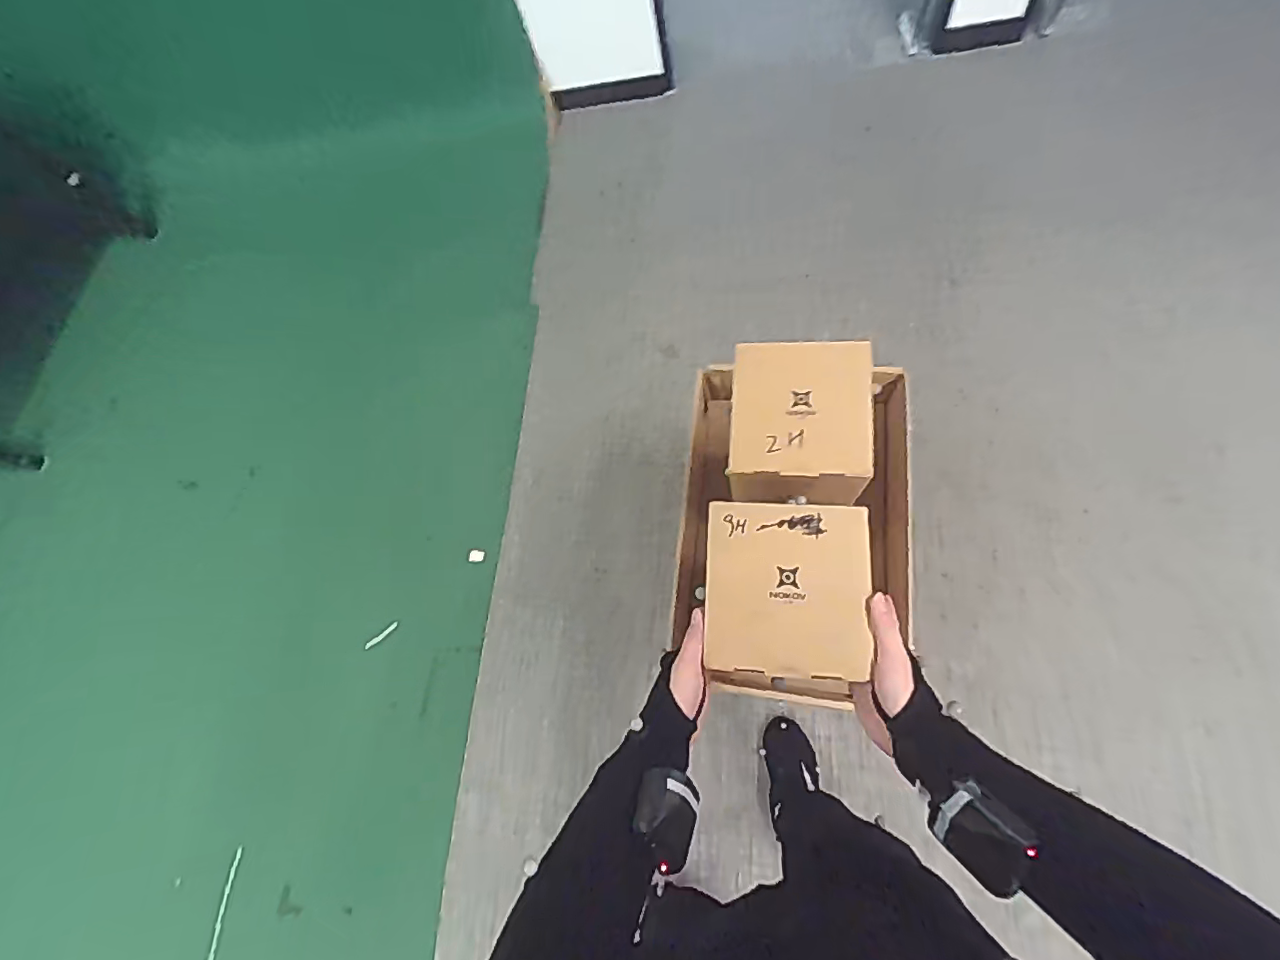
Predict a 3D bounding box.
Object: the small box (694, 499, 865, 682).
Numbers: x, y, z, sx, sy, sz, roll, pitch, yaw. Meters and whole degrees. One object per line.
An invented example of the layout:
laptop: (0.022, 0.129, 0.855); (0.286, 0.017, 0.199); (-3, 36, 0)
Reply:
small box: (0.153, 0.127, 0.622); (0.168, 0.176, 0.179); (1, 74, 10)

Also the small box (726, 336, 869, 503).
small box: (0.207, -0.076, 0.731); (0.168, 0.176, 0.179); (2, 76, 13)
